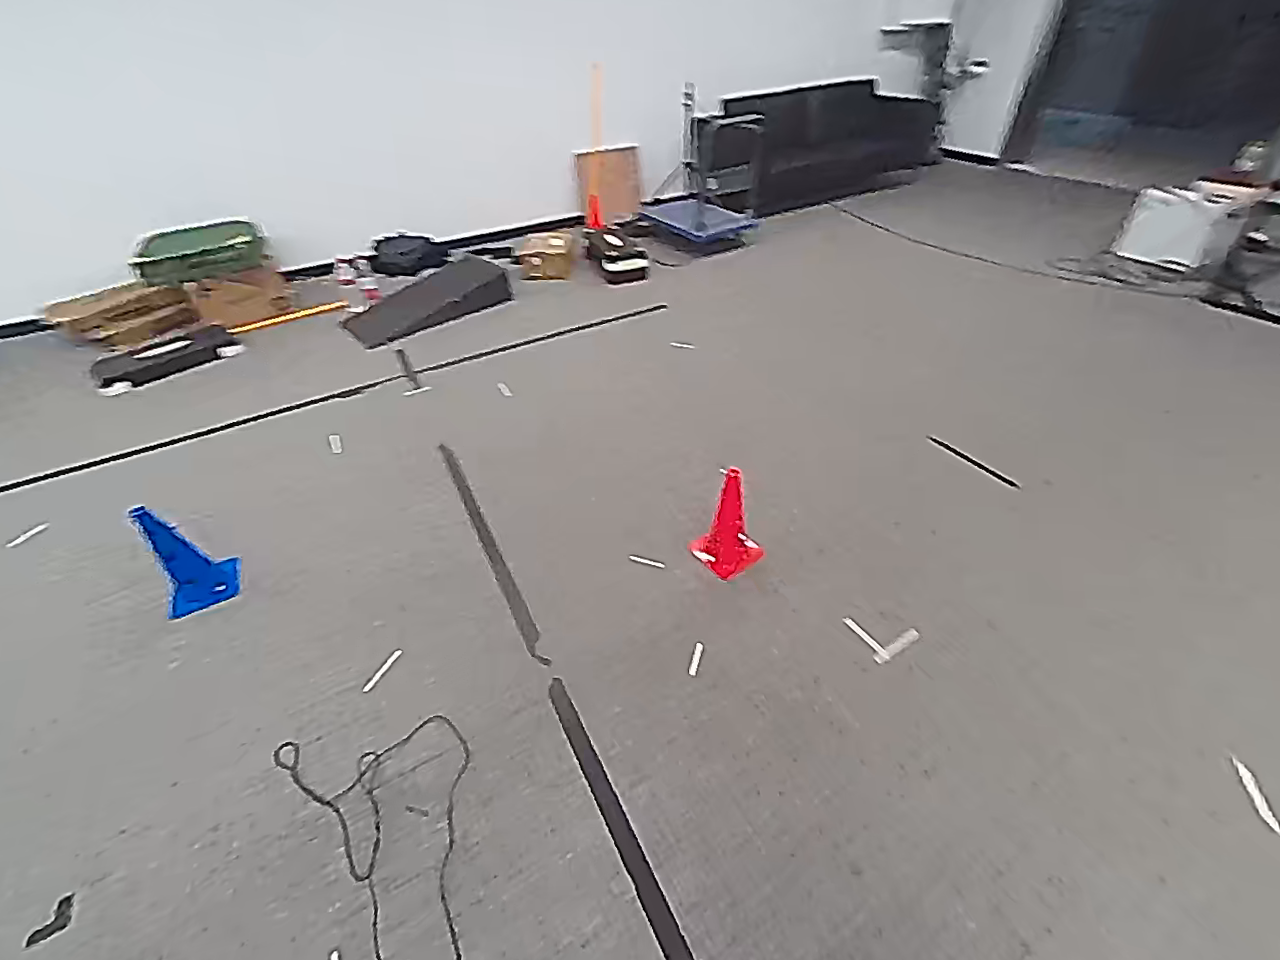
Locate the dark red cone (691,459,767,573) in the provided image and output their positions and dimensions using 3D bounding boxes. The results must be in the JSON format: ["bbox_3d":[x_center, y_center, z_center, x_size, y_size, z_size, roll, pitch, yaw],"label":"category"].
[{"bbox_3d":[0.291,0.093,1.725,0.201,0.394,0.202,-28,46,-25],"label":"dark red cone"}]

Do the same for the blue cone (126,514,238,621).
[{"bbox_3d":[-1.462,0.248,1.702,0.192,0.380,0.193,-22,44,-19],"label":"blue cone"}]
